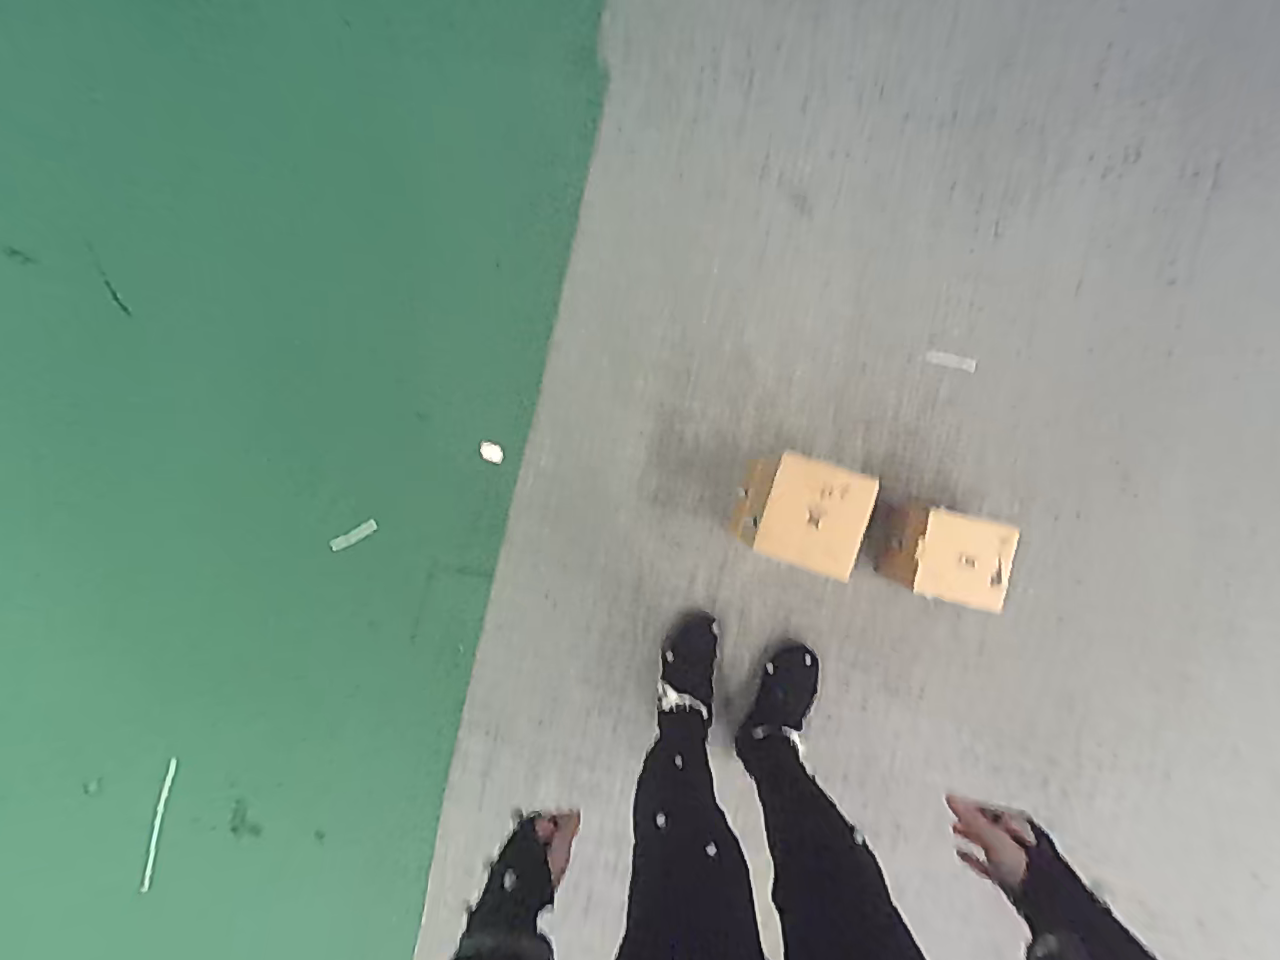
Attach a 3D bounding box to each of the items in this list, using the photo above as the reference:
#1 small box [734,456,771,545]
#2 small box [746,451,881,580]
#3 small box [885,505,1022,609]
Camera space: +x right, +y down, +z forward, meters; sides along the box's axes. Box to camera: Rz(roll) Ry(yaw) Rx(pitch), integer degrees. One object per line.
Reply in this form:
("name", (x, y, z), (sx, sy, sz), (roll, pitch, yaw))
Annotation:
("small box", (0.302, 0.060, 1.134), (0.168, 0.176, 0.179), (17, 90, 3))
("small box", (0.297, 0.059, 0.969), (0.168, 0.176, 0.179), (18, 90, 3))
("small box", (0.632, 0.150, 1.114), (0.179, 0.176, 0.168), (13, 91, 4))
